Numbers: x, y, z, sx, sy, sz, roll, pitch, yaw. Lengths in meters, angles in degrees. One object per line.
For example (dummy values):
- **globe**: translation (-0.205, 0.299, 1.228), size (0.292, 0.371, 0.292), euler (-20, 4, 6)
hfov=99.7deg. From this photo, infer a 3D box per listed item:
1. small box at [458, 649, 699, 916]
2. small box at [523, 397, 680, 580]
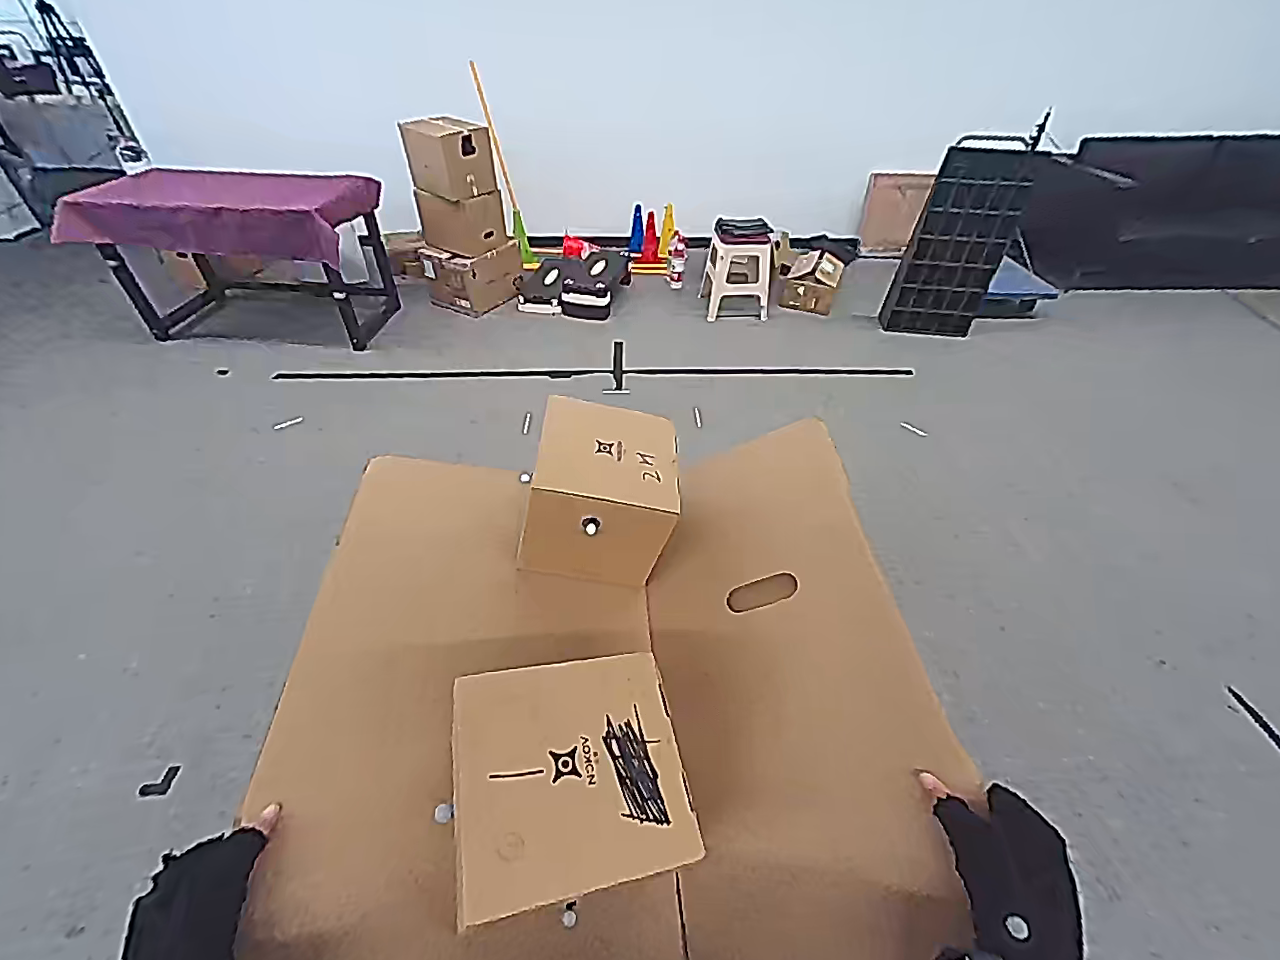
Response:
- **small box**: translation (-0.072, 0.274, 0.495), size (0.179, 0.176, 0.168), euler (-1, 50, -20)
- **small box**: translation (-0.055, 0.017, 0.733), size (0.179, 0.176, 0.168), euler (12, 47, -11)
